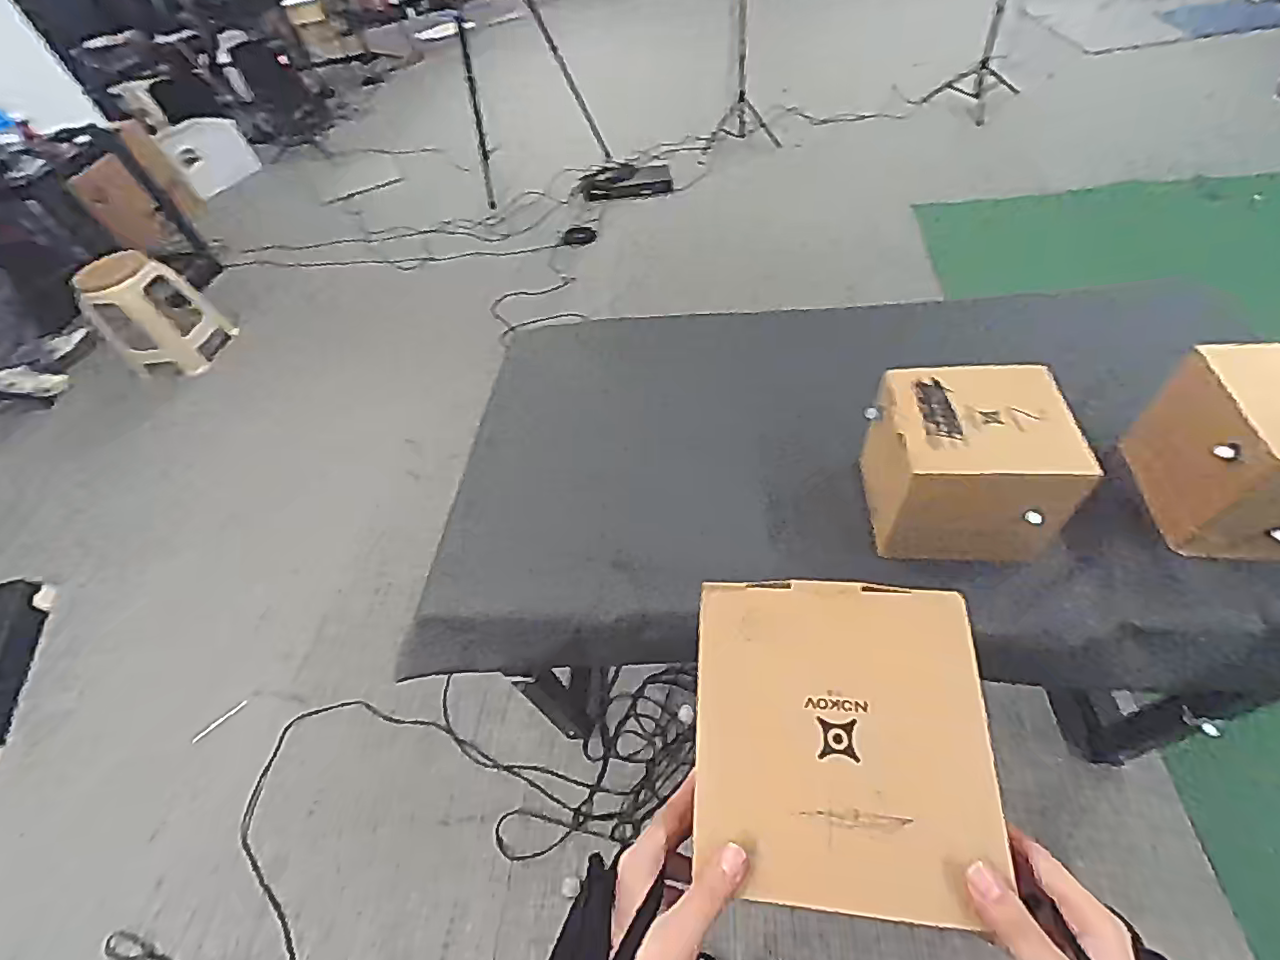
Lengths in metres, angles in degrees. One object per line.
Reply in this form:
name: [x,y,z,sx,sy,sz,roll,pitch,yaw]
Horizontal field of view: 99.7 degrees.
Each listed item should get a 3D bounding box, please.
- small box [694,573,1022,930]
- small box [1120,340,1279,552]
small box: [0.129,0.178,0.387,0.168,0.176,0.179,0,65,11]
small box: [0.698,-0.037,0.605,0.168,0.176,0.179,1,53,12]
